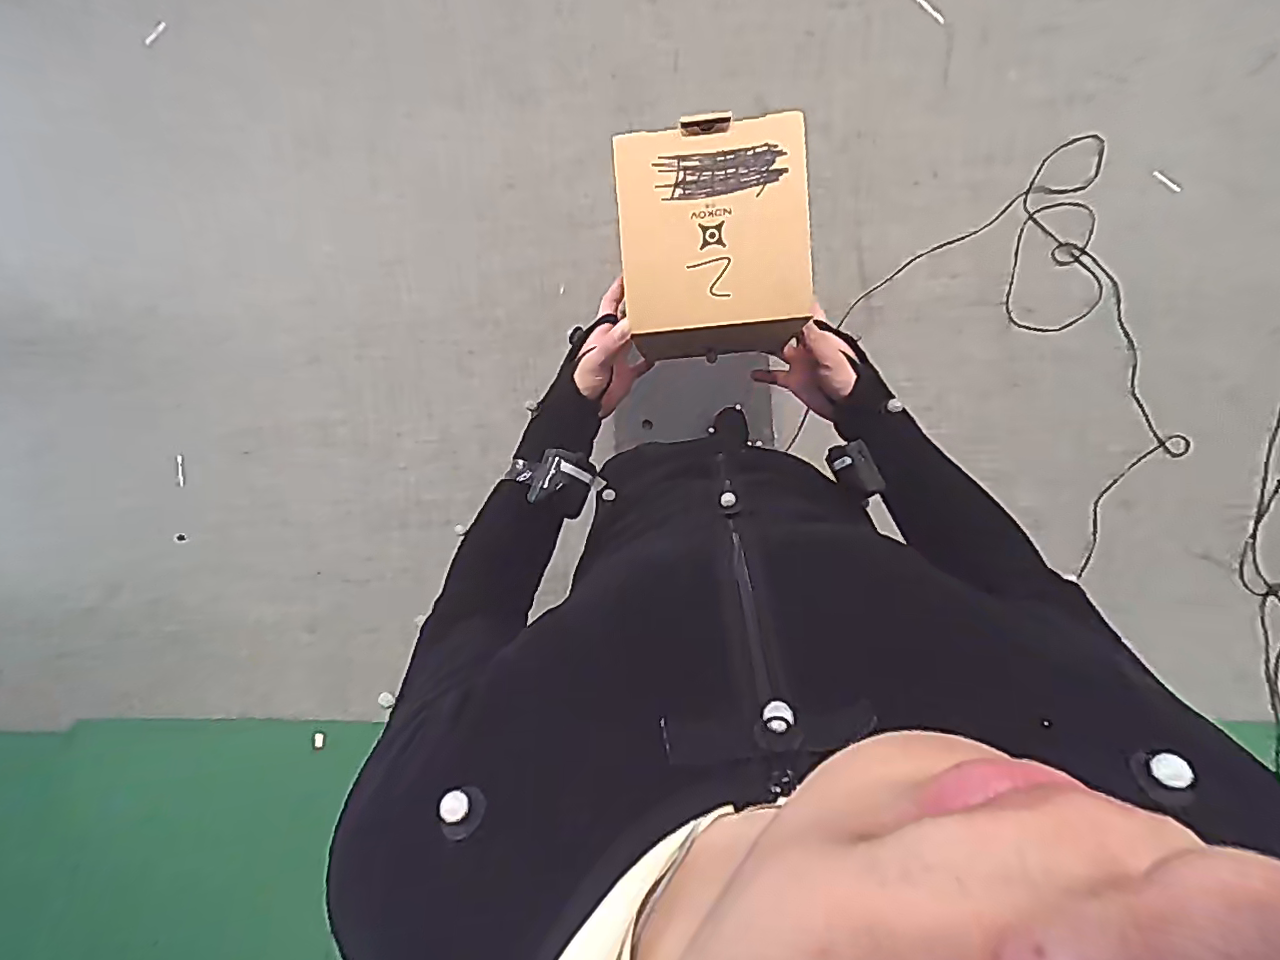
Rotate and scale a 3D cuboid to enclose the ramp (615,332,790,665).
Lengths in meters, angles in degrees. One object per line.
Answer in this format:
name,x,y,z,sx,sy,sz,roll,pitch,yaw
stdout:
ramp,0.175,0.044,1.638,0.509,0.206,0.991,-4,93,5
